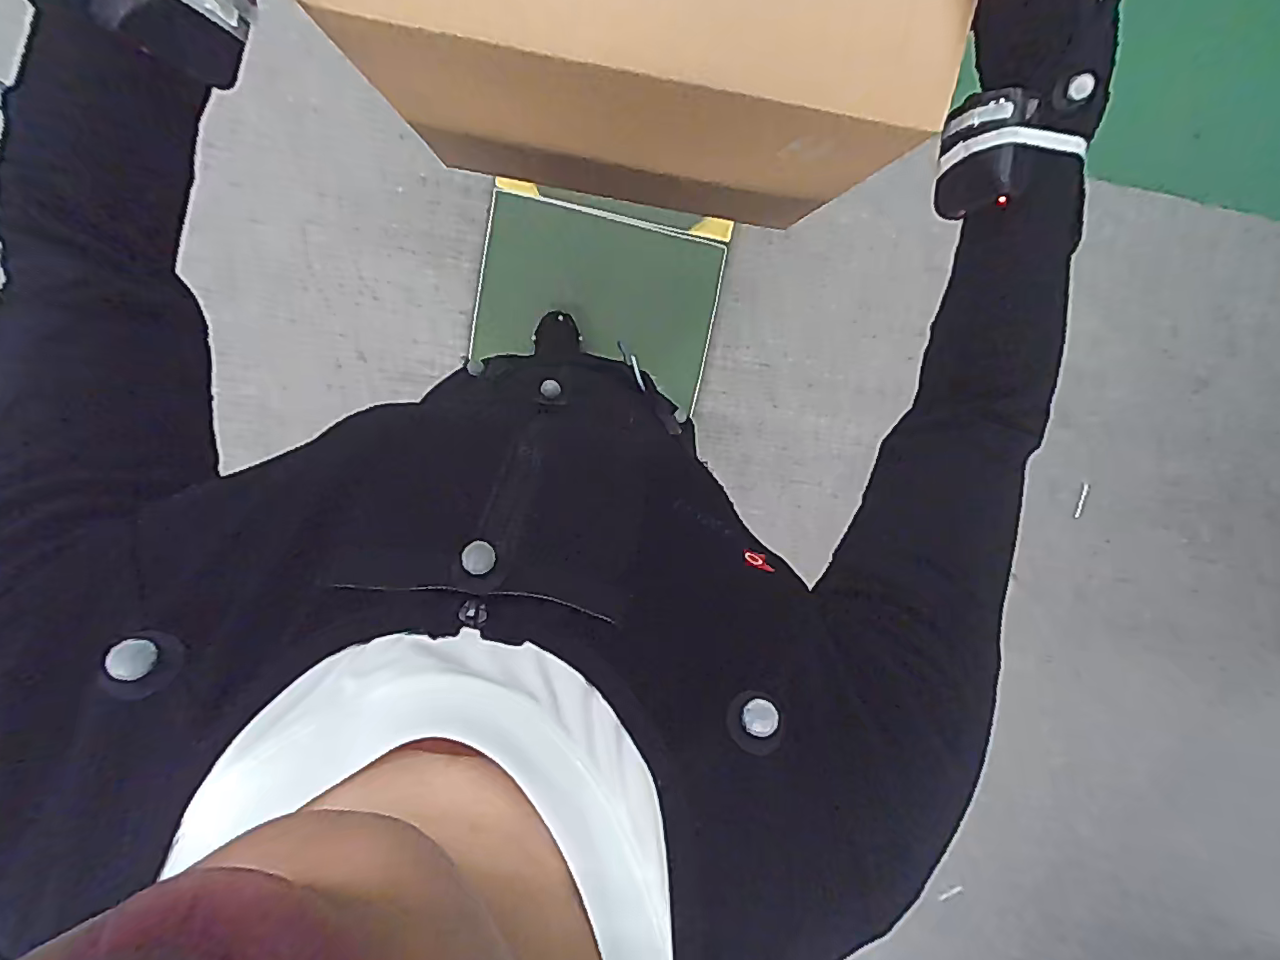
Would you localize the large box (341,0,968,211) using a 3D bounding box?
[{"bbox_3d":[0.015,-0.450,0.450,0.408,0.320,0.320,7,105,-7],"label":"large box"}]
